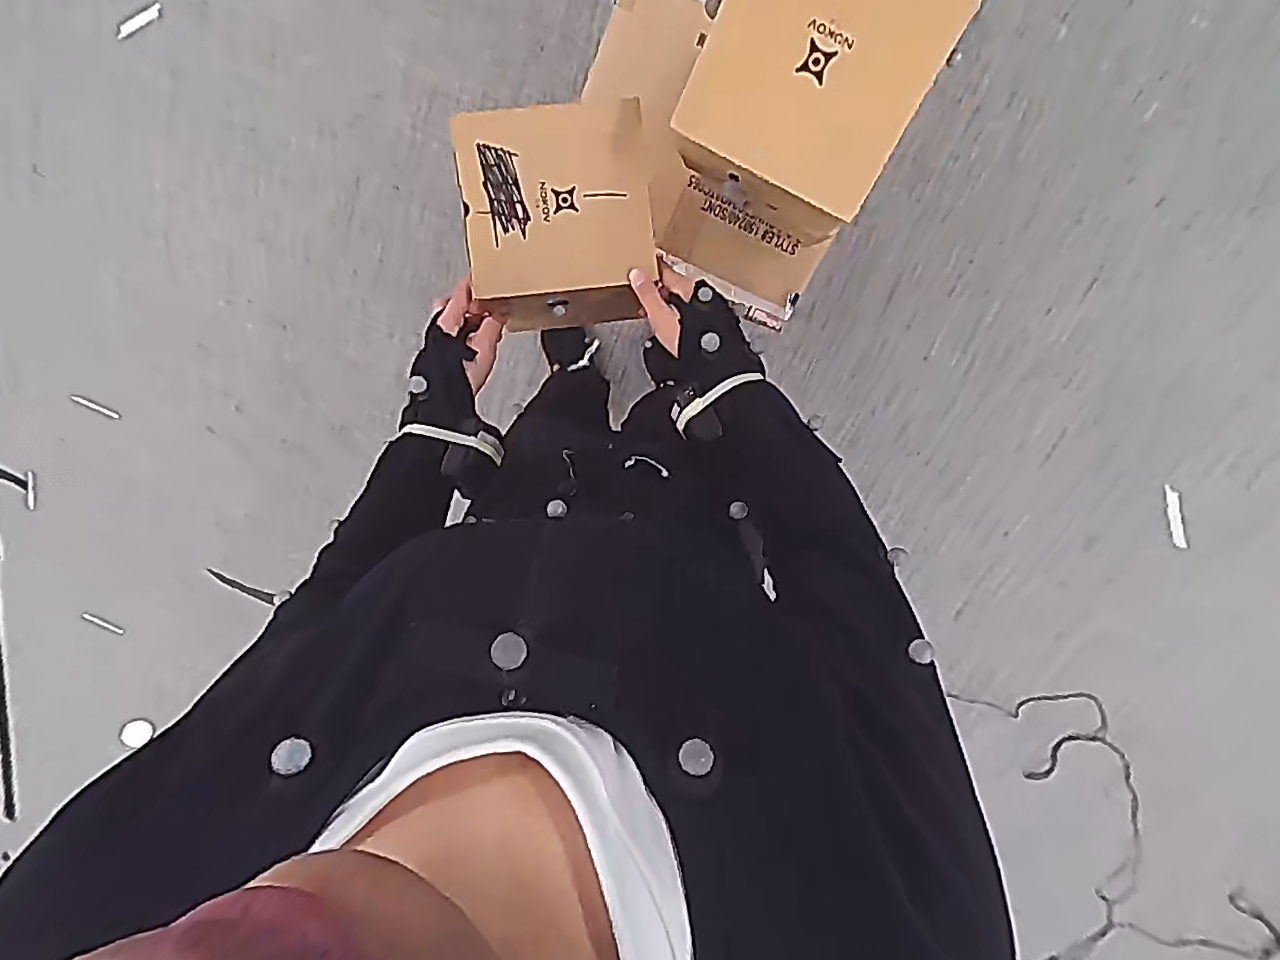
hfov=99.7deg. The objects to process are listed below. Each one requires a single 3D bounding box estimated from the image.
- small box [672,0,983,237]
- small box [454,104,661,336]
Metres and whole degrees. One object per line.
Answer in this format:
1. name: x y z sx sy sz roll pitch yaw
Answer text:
1. small box: 0.146 -0.335 0.473 0.168 0.176 0.179 27 111 -1
2. small box: -0.078 -0.258 0.576 0.179 0.176 0.168 -8 94 -3
